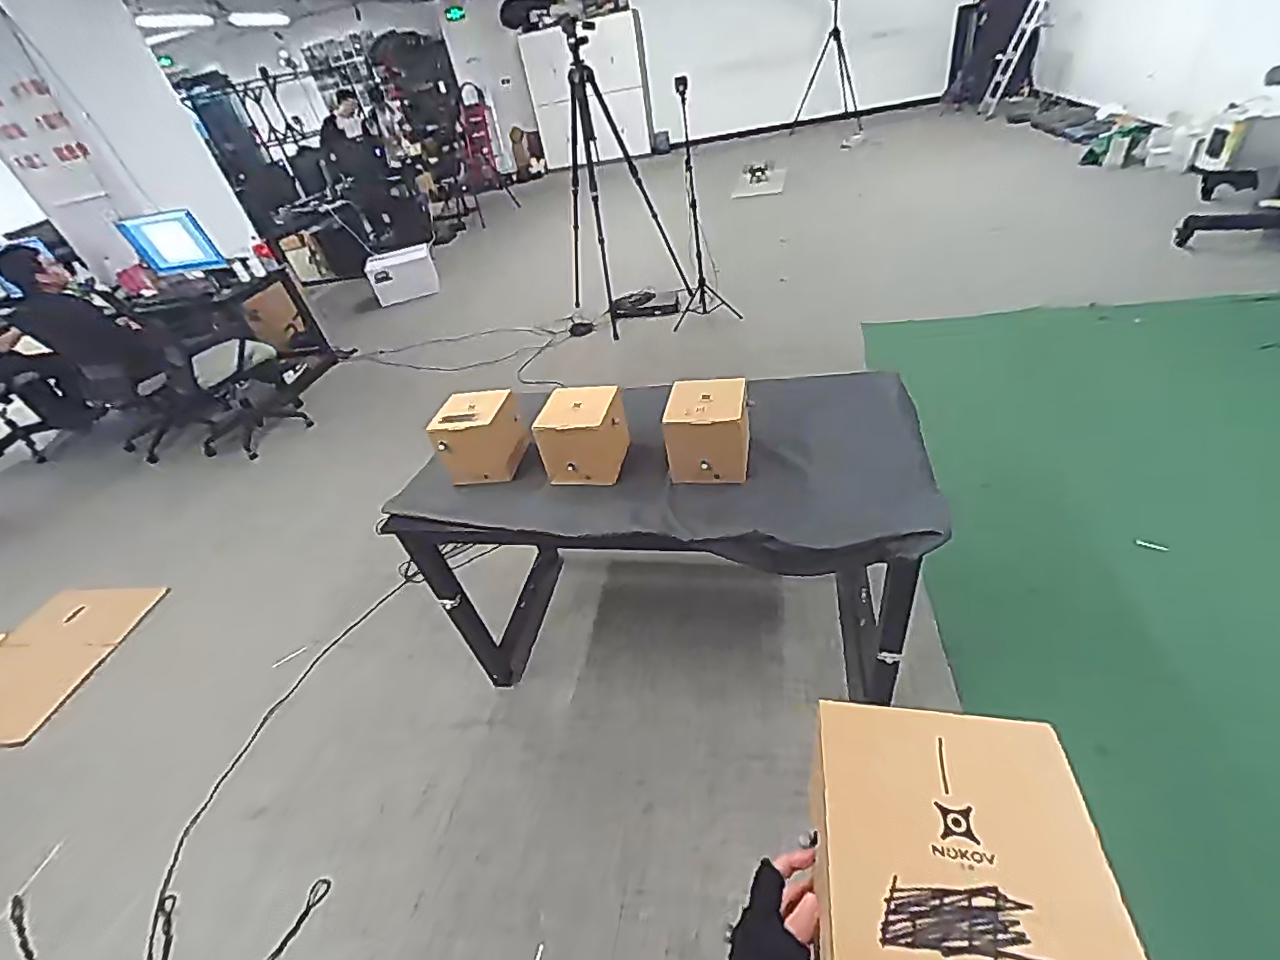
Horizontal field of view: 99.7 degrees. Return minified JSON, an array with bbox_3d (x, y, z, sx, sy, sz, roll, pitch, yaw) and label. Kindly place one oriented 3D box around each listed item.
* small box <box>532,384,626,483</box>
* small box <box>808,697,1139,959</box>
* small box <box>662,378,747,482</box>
[{"bbox_3d":[-0.136,-0.114,1.299,0.168,0.176,0.179,1,41,15],"label":"small box"},{"bbox_3d":[0.217,0.294,0.402,0.168,0.176,0.179,2,38,14],"label":"small box"},{"bbox_3d":[0.153,-0.115,1.224,0.168,0.176,0.179,1,40,16],"label":"small box"}]
